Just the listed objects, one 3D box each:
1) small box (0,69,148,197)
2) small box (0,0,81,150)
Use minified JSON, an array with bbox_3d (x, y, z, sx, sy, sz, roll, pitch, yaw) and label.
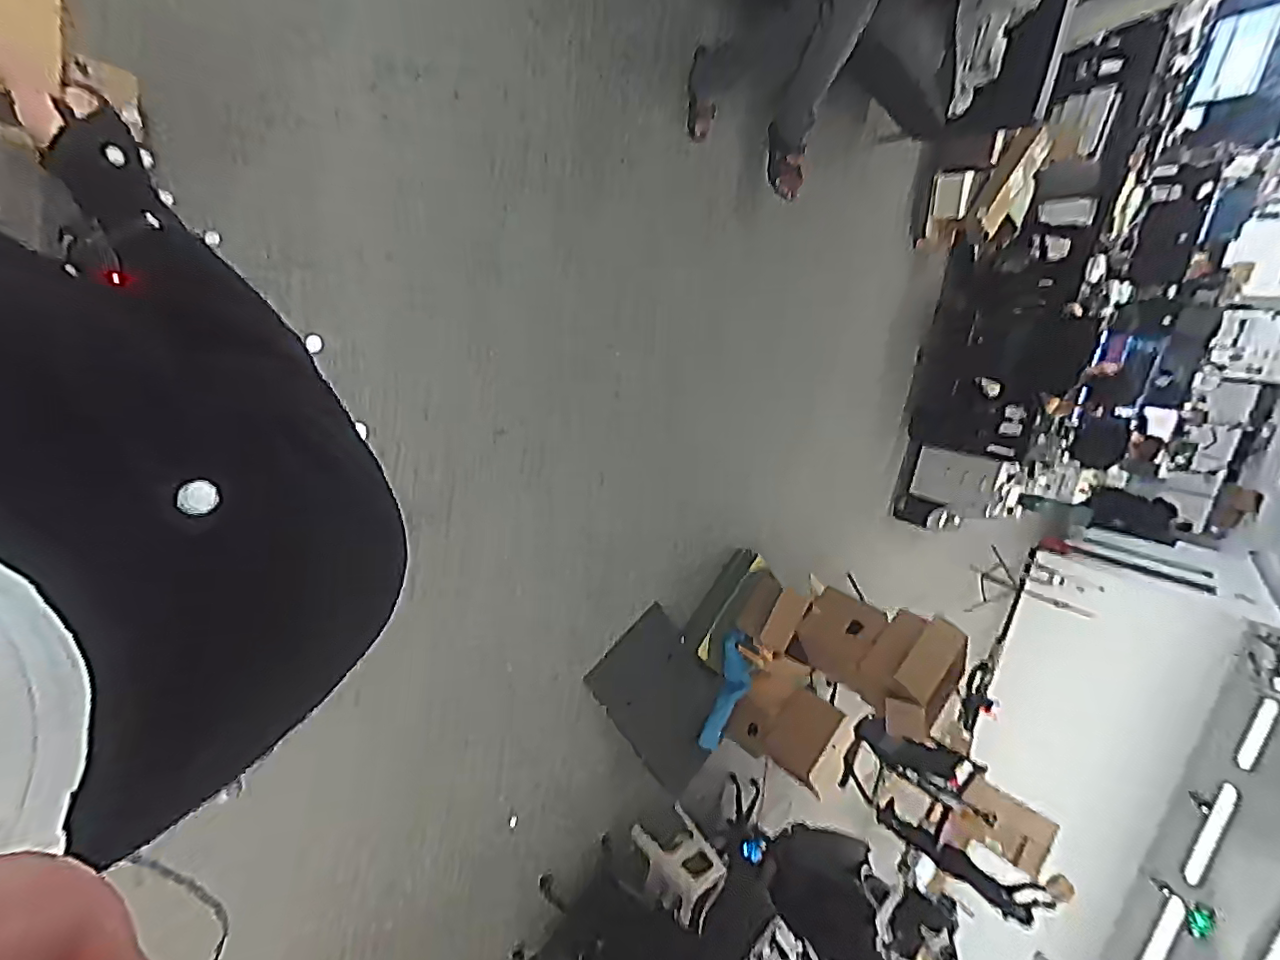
[{"bbox_3d":[-1.000,-0.621,0.958,0.179,0.176,0.168,1,103,-45],"label":"small box"},{"bbox_3d":[-0.615,-0.416,0.469,0.179,0.176,0.168,-1,103,-45],"label":"small box"}]
